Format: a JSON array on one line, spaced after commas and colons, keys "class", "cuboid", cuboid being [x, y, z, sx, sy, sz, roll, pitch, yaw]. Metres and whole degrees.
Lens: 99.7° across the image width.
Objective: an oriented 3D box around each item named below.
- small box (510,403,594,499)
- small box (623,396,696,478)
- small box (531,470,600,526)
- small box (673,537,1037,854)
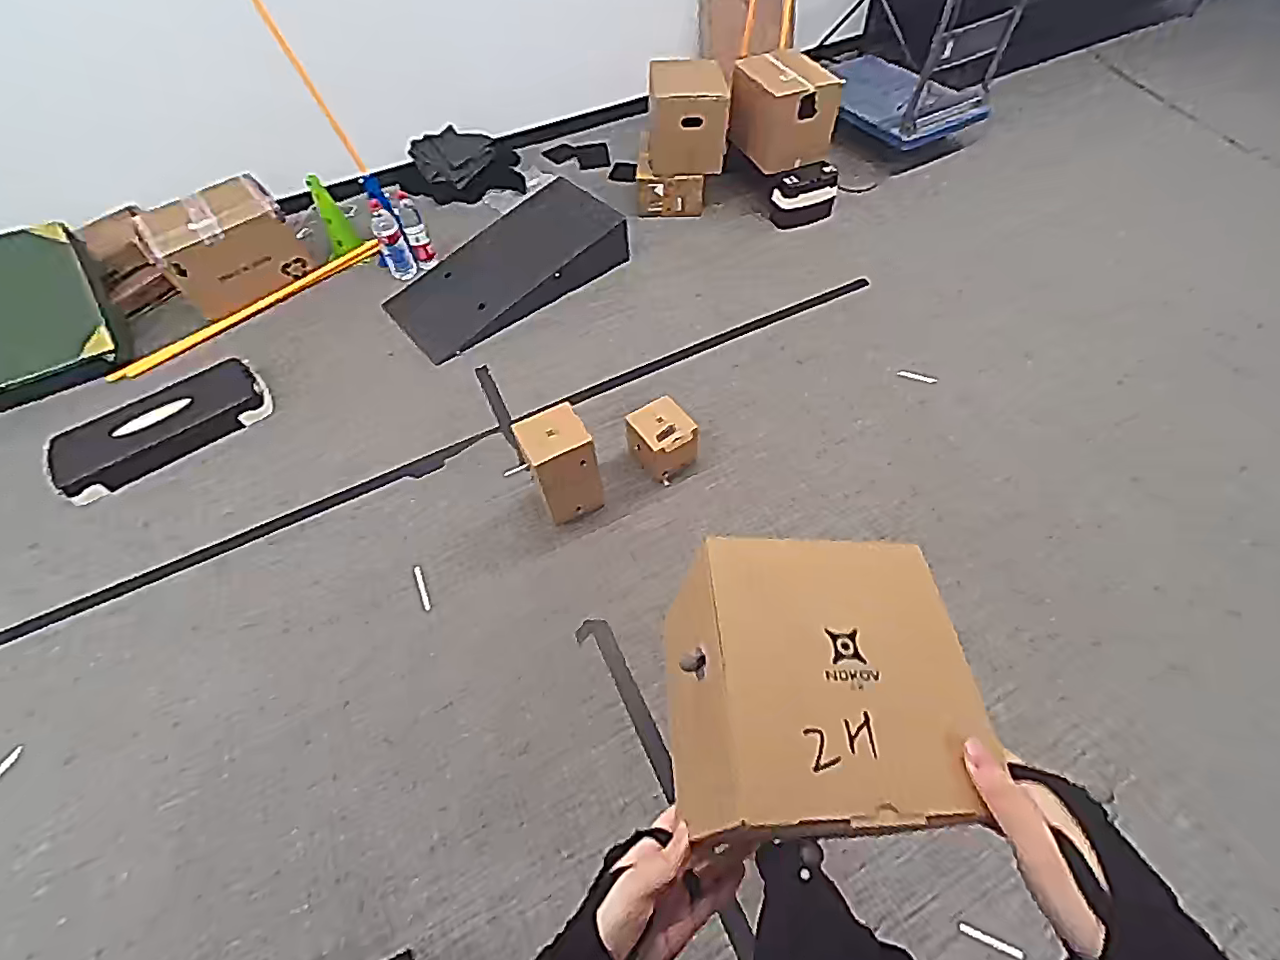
[{"class": "small box", "cuboid": [-0.238, -0.078, 1.511, 0.179, 0.176, 0.168, -26, 58, -13]}, {"class": "small box", "cuboid": [0.064, -0.128, 1.728, 0.168, 0.176, 0.179, -30, 59, -16]}, {"class": "small box", "cuboid": [-0.230, 0.011, 1.648, 0.179, 0.176, 0.168, -24, 58, -13]}, {"class": "small box", "cuboid": [0.121, 0.162, 0.395, 0.168, 0.176, 0.179, 3, 53, -7]}]
